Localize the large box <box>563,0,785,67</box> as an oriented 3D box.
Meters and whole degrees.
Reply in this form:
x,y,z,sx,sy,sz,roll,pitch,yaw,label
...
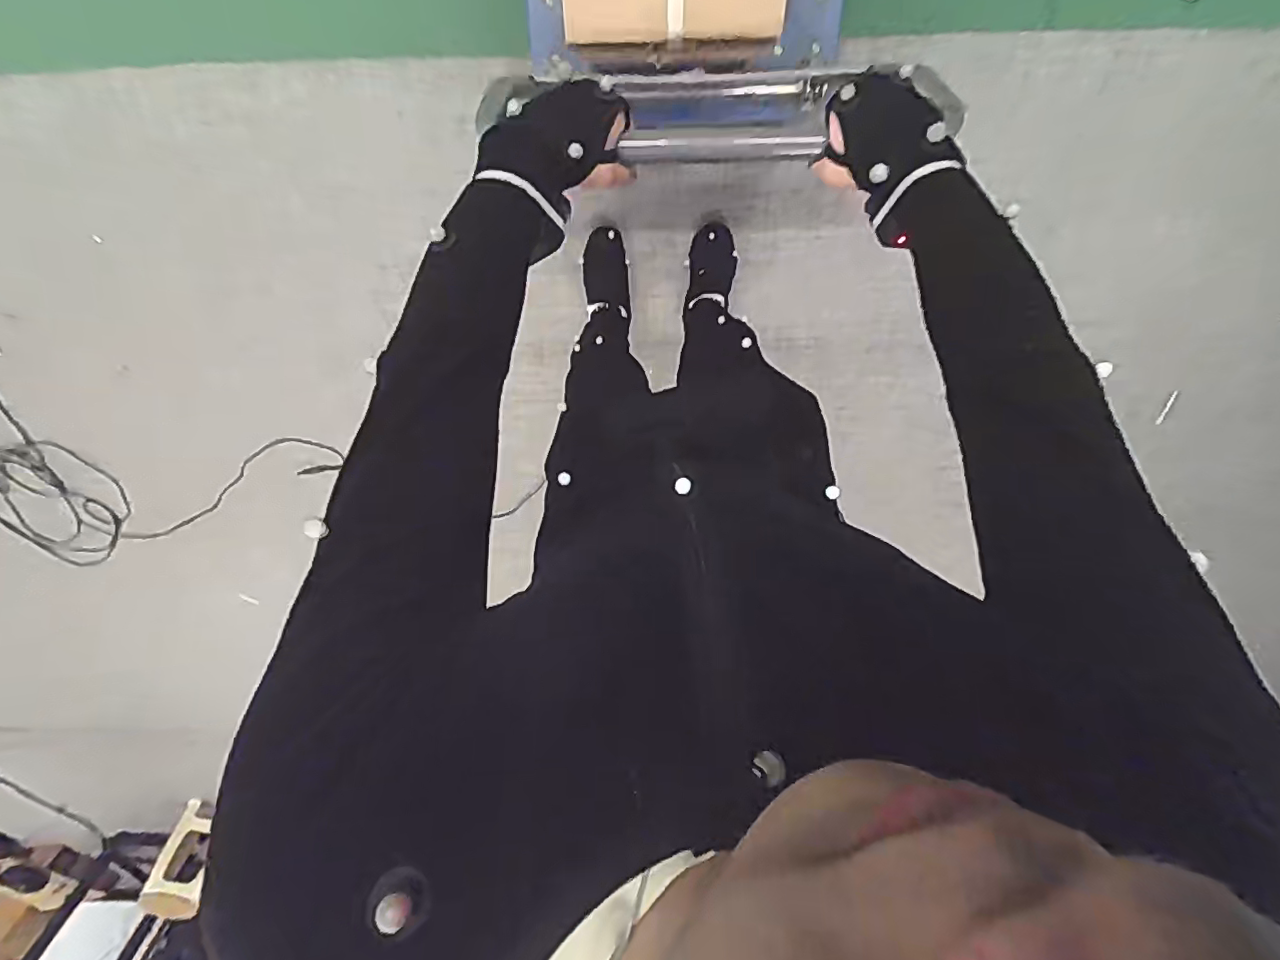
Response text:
x,y,z,sx,sy,sz,roll,pitch,yaw,label
0.046,-0.881,0.797,0.320,0.320,0.408,-1,123,1,large box
